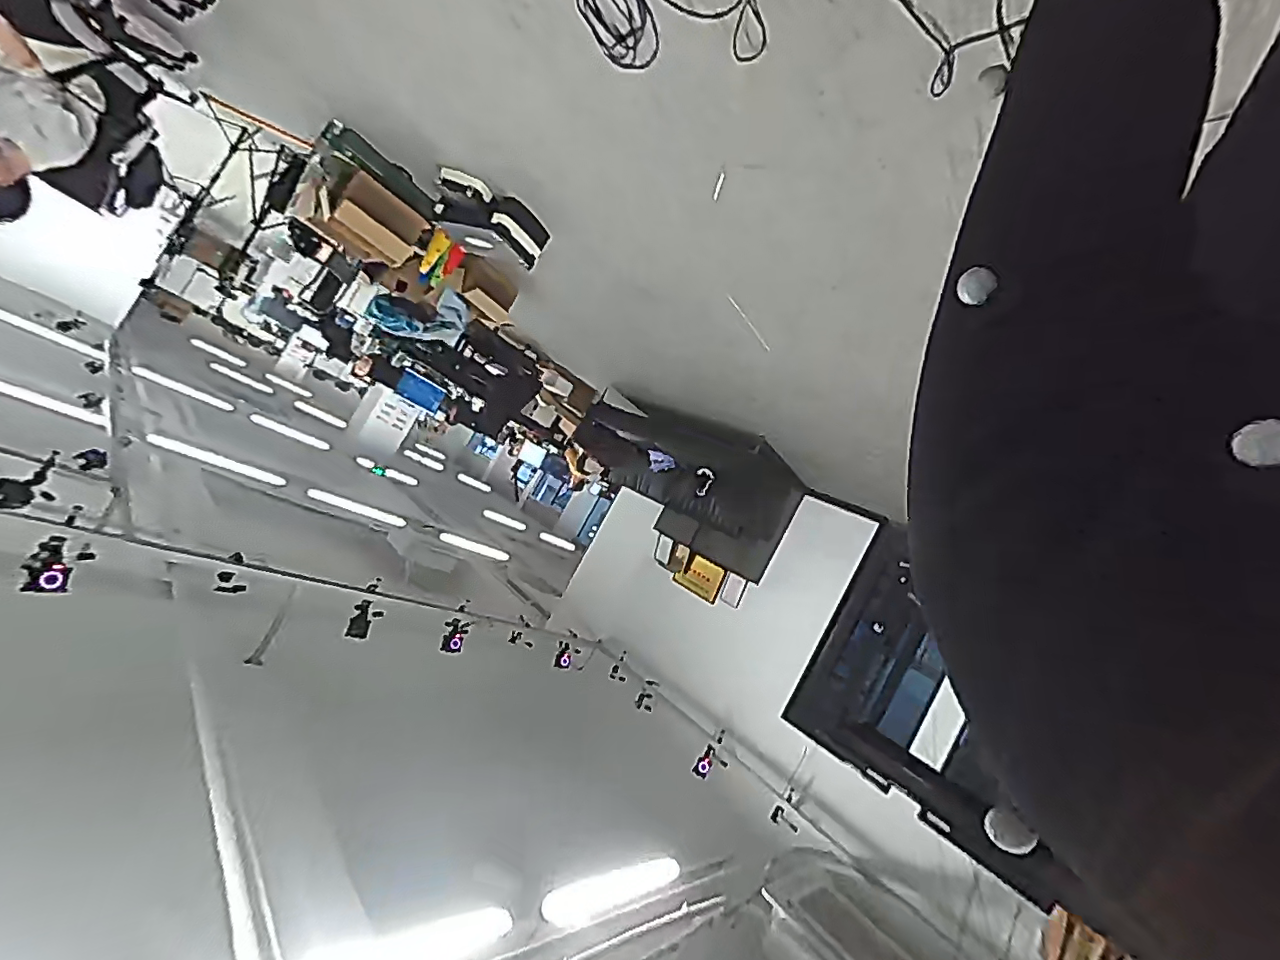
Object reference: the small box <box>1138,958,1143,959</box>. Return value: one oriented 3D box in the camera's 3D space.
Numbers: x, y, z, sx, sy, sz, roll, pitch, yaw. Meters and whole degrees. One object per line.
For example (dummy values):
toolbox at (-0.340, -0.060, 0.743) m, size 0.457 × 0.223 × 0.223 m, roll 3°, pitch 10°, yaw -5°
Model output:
small box at (1.383, 1.420, 1.427) m, size 0.179 × 0.176 × 0.168 m, roll 33°, pitch 177°, yaw -40°
